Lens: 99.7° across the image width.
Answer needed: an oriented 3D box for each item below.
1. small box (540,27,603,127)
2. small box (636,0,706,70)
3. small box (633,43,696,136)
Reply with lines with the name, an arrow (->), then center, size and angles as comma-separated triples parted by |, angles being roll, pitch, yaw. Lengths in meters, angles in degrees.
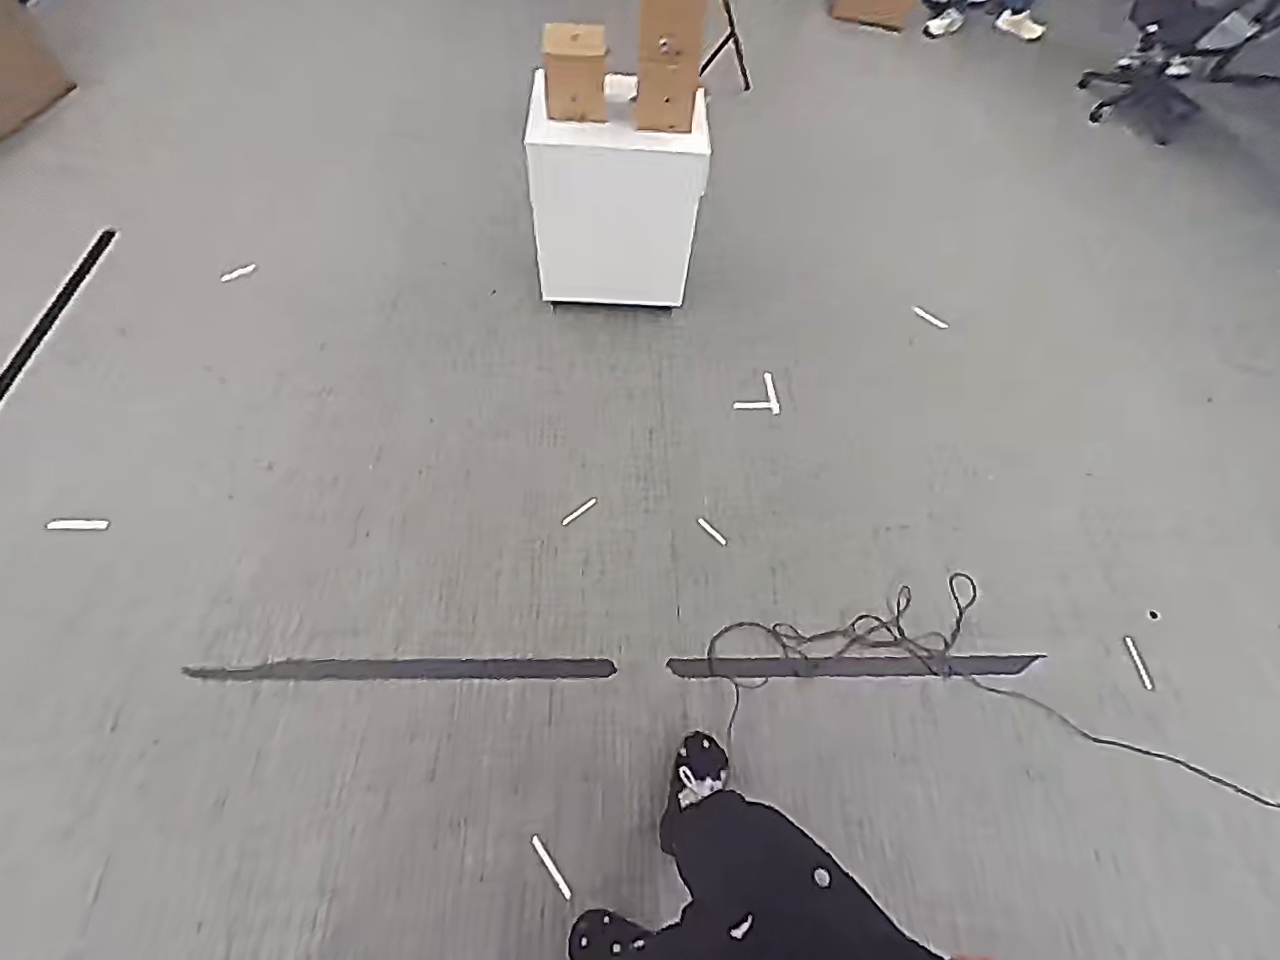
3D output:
small box -> -0.188, -1.128, 1.518 | 0.168, 0.176, 0.179 | -1, 61, -5
small box -> 0.075, -1.193, 1.388 | 0.168, 0.176, 0.179 | 1, 60, -2
small box -> 0.066, -1.103, 1.525 | 0.168, 0.176, 0.179 | 1, 61, -2
